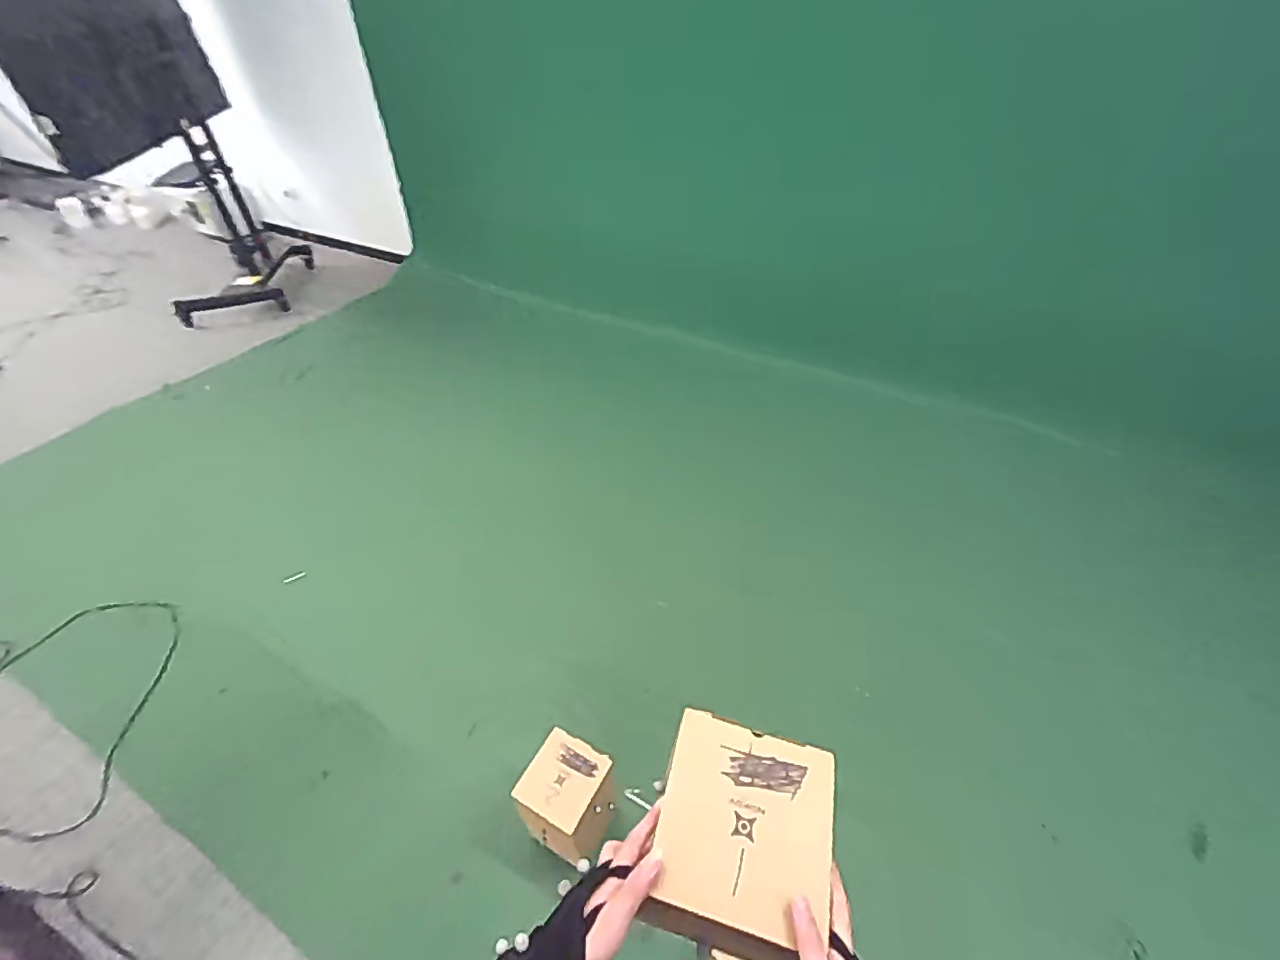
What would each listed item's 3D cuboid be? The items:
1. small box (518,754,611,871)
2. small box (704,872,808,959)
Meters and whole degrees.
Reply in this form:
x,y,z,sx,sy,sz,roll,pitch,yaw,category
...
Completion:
x,y,z,sx,sy,sz,roll,pitch,yaw,category
-0.183,0.853,1.383,0.168,0.176,0.179,21,45,21,small box
0.252,1.027,1.200,0.168,0.176,0.179,22,47,21,small box
